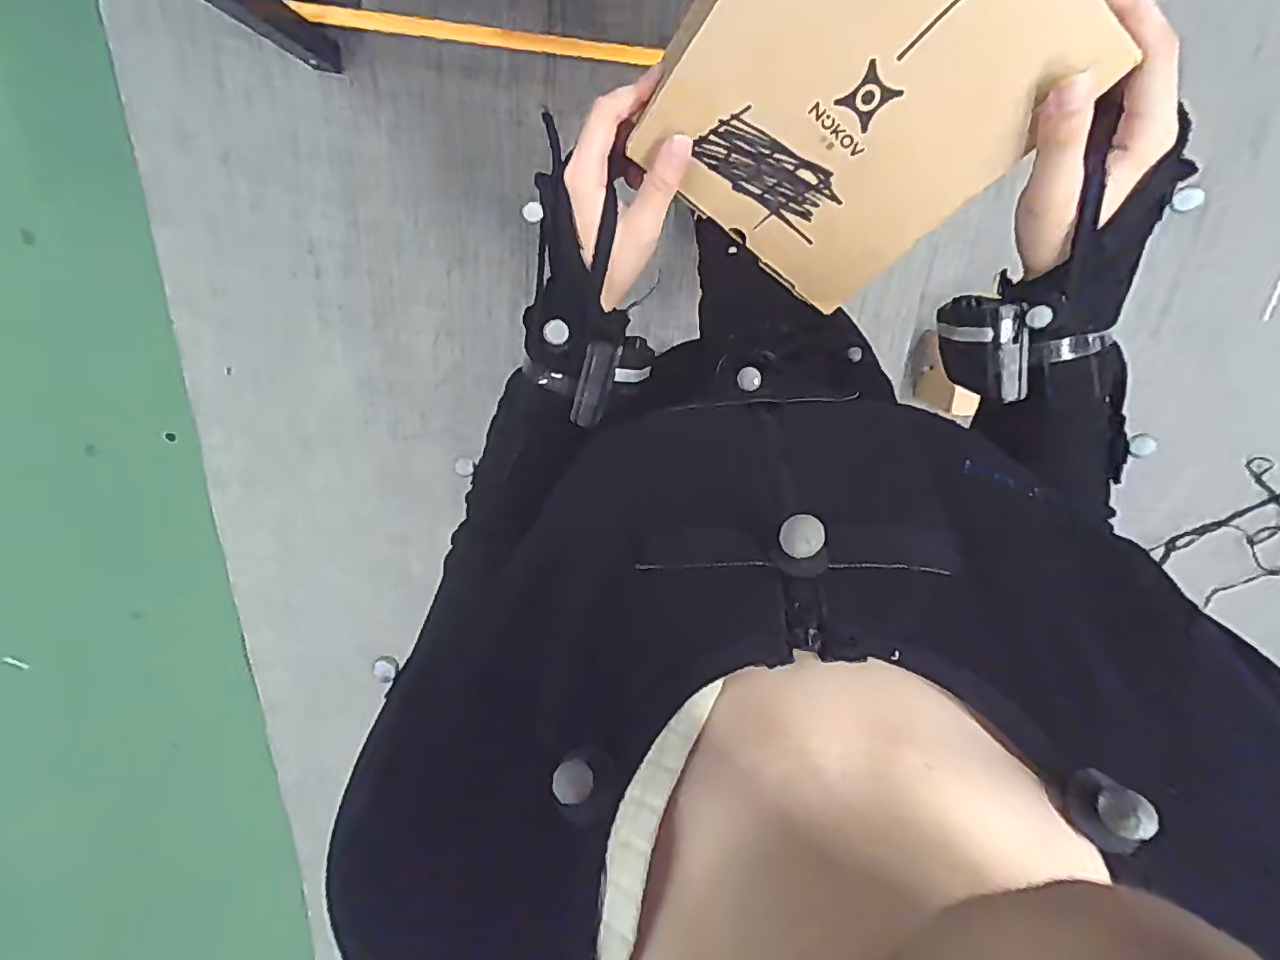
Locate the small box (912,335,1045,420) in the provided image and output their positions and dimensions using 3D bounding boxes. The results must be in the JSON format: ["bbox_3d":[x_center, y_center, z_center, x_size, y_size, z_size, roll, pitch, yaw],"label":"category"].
[{"bbox_3d":[0.744,-0.233,1.207,0.179,0.176,0.168,-1,109,0],"label":"small box"}]
